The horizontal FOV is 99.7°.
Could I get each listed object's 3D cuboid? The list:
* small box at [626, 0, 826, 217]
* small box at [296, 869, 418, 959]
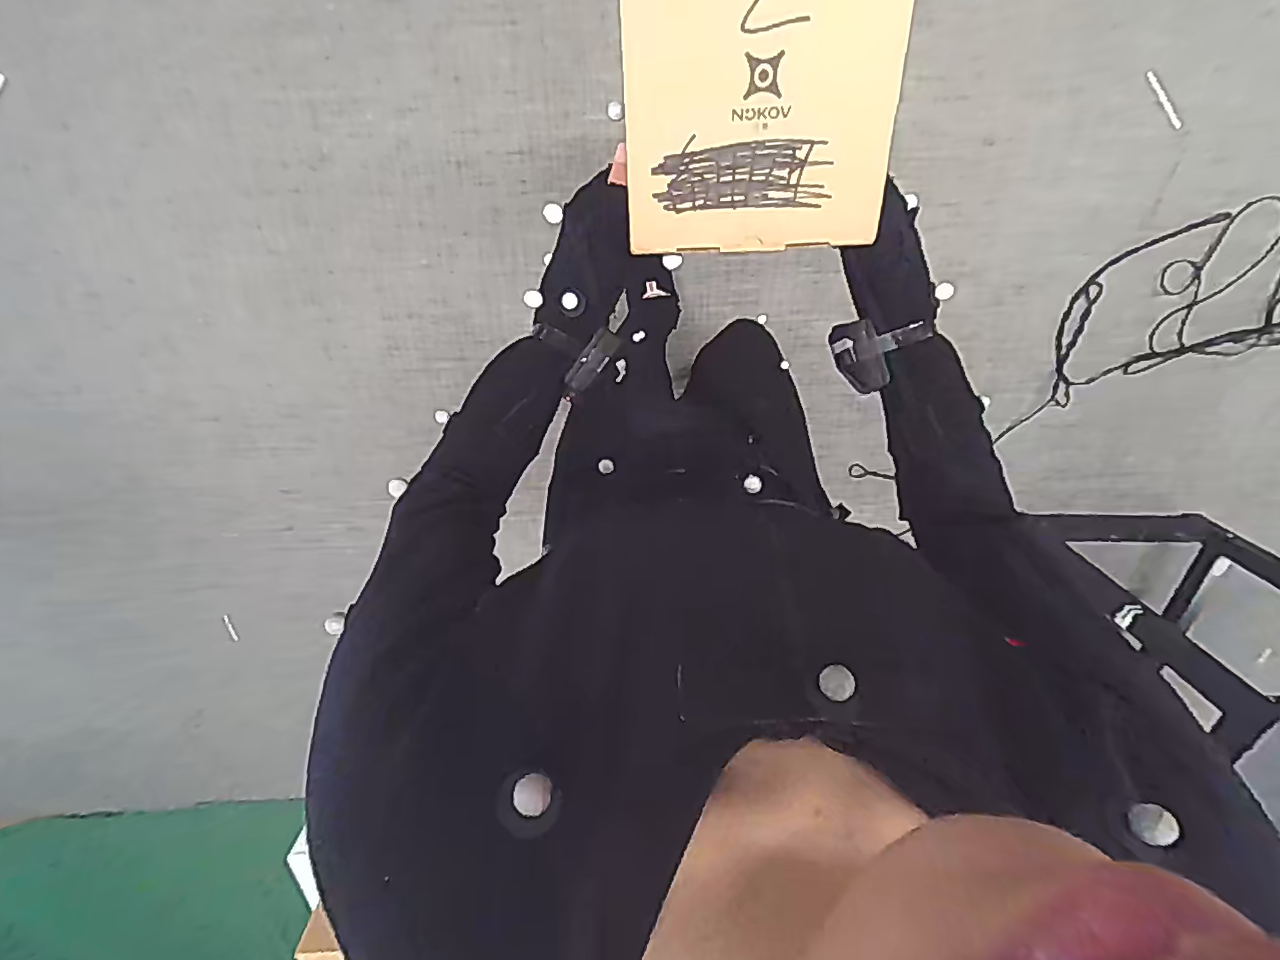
[{"bbox_3d":[0.075,-0.364,0.537,0.168,0.176,0.179,-4,117,4],"label":"small box"},{"bbox_3d":[-0.656,1.053,1.274,0.179,0.176,0.168,-6,117,2],"label":"small box"}]
